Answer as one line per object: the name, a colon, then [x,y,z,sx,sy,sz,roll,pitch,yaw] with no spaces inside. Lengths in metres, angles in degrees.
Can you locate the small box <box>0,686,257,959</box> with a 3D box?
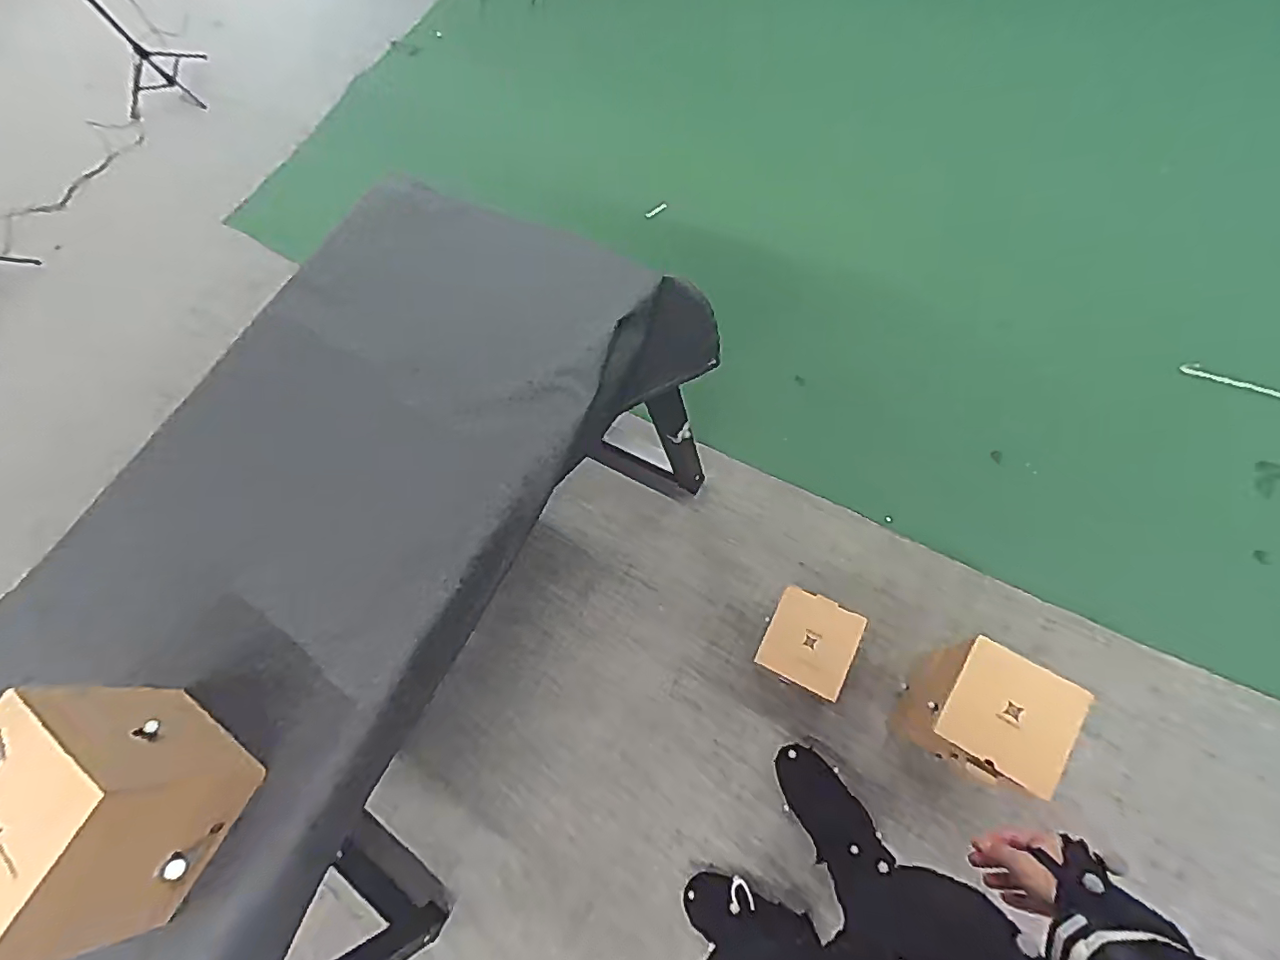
small box: [-0.537,0.323,0.526,0.179,0.176,0.168,24,75,20]

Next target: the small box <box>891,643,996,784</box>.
small box: [0.598,0.435,1.026,0.168,0.176,0.179,28,78,20]

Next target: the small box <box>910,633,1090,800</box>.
small box: [0.567,0.374,0.878,0.168,0.176,0.179,29,77,21]

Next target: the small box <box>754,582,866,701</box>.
small box: [0.347,0.338,1.124,0.168,0.176,0.179,22,76,21]
